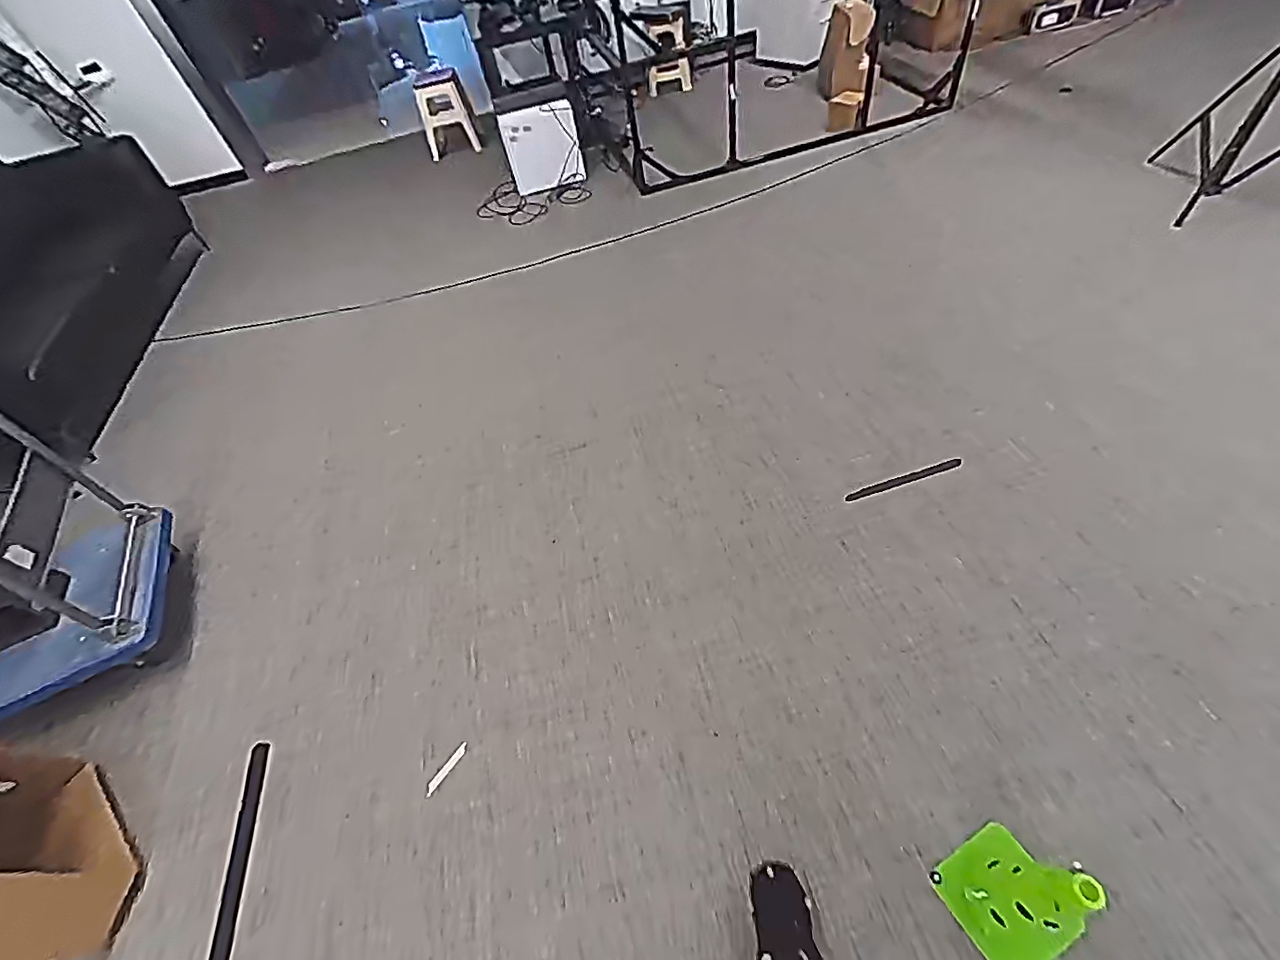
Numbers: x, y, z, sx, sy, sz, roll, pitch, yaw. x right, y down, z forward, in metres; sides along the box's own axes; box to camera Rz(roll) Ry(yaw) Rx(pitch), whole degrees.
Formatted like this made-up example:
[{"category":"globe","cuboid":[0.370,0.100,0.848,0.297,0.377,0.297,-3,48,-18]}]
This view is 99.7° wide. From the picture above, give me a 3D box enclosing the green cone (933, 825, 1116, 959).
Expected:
[{"category":"green cone","cuboid":[0.682,0.704,0.908,0.202,0.368,0.200,-28,52,-13]}]
